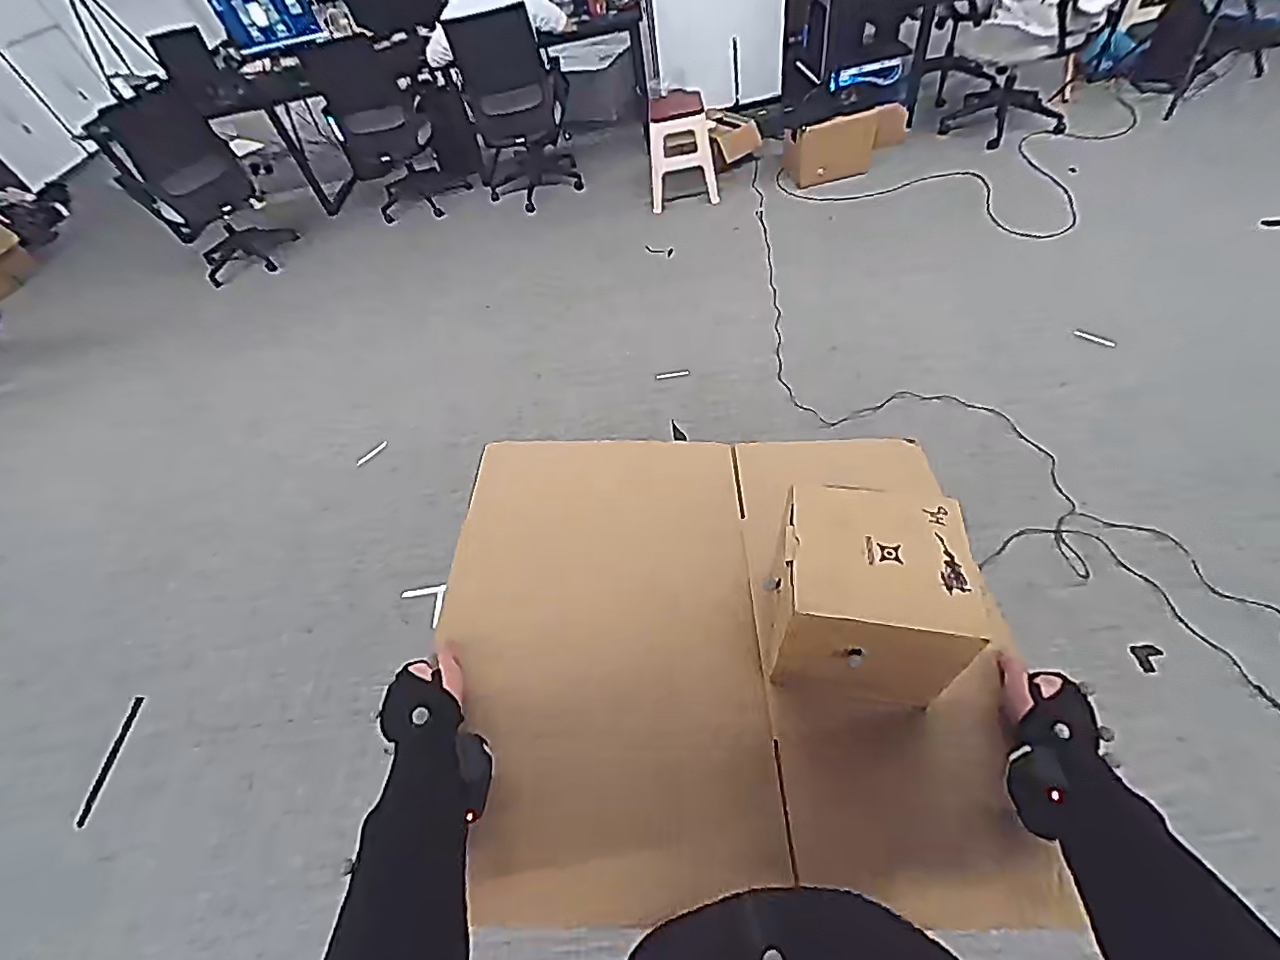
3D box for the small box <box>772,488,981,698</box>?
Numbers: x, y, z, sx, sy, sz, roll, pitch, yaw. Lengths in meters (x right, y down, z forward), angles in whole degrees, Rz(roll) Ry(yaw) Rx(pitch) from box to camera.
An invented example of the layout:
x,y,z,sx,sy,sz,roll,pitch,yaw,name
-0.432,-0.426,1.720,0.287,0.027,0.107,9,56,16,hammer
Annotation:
x,y,z,sx,sy,sz,roll,pitch,yaw,name
0.246,0.129,0.613,0.179,0.176,0.168,5,50,10,small box
